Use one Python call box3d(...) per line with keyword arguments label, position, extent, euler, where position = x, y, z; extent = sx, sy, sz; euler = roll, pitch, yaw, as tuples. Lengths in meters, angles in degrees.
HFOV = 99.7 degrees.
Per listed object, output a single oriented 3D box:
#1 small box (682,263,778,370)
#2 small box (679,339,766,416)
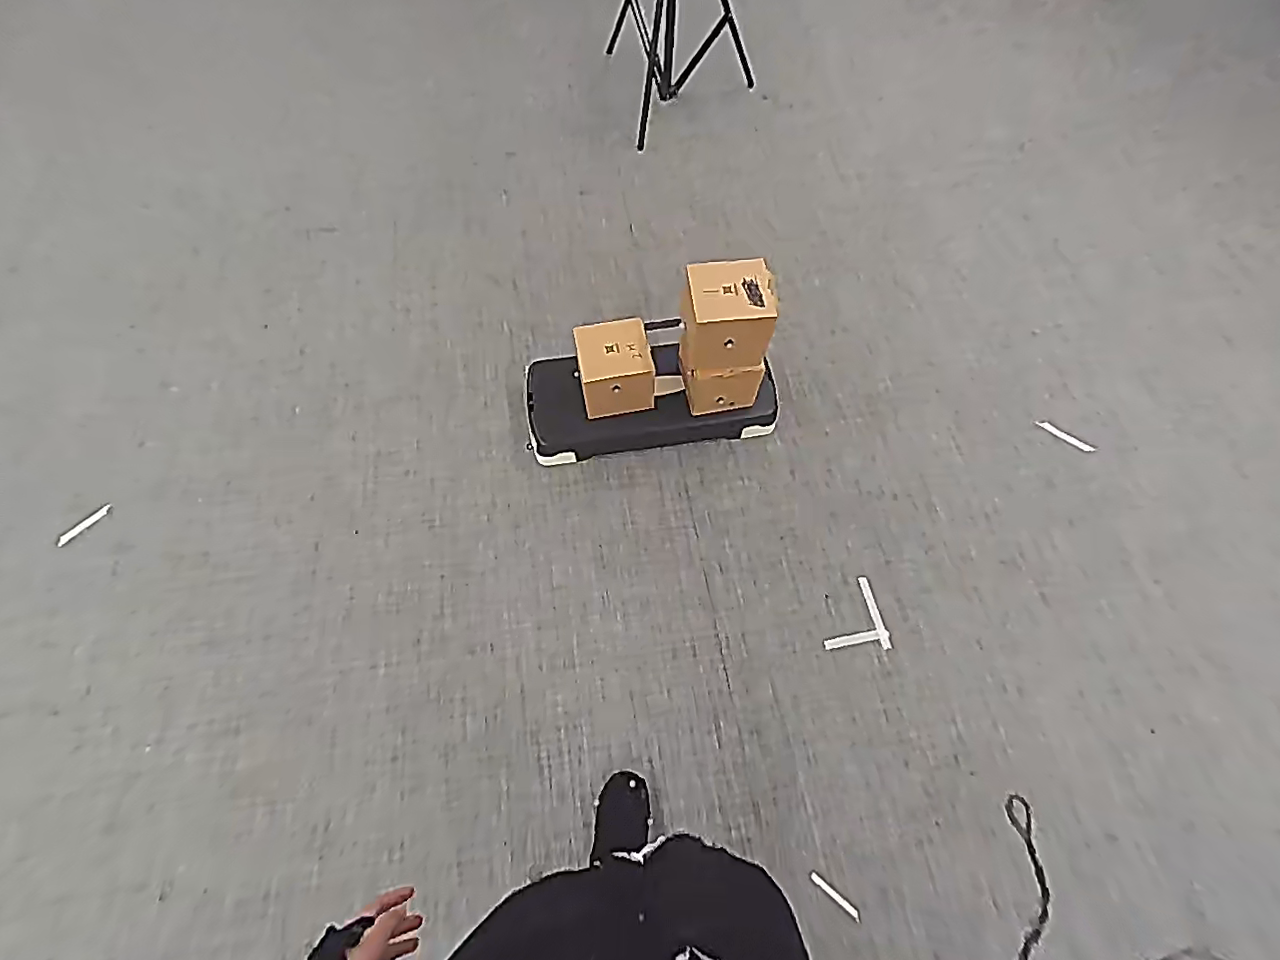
box3d(label="small box", position=(0.196, -0.368, 1.233), extent=(0.179, 0.176, 0.168), euler=(-5, 66, -2))
box3d(label="small box", position=(0.201, -0.288, 1.377), extent=(0.168, 0.176, 0.179), euler=(-10, 67, -5))
